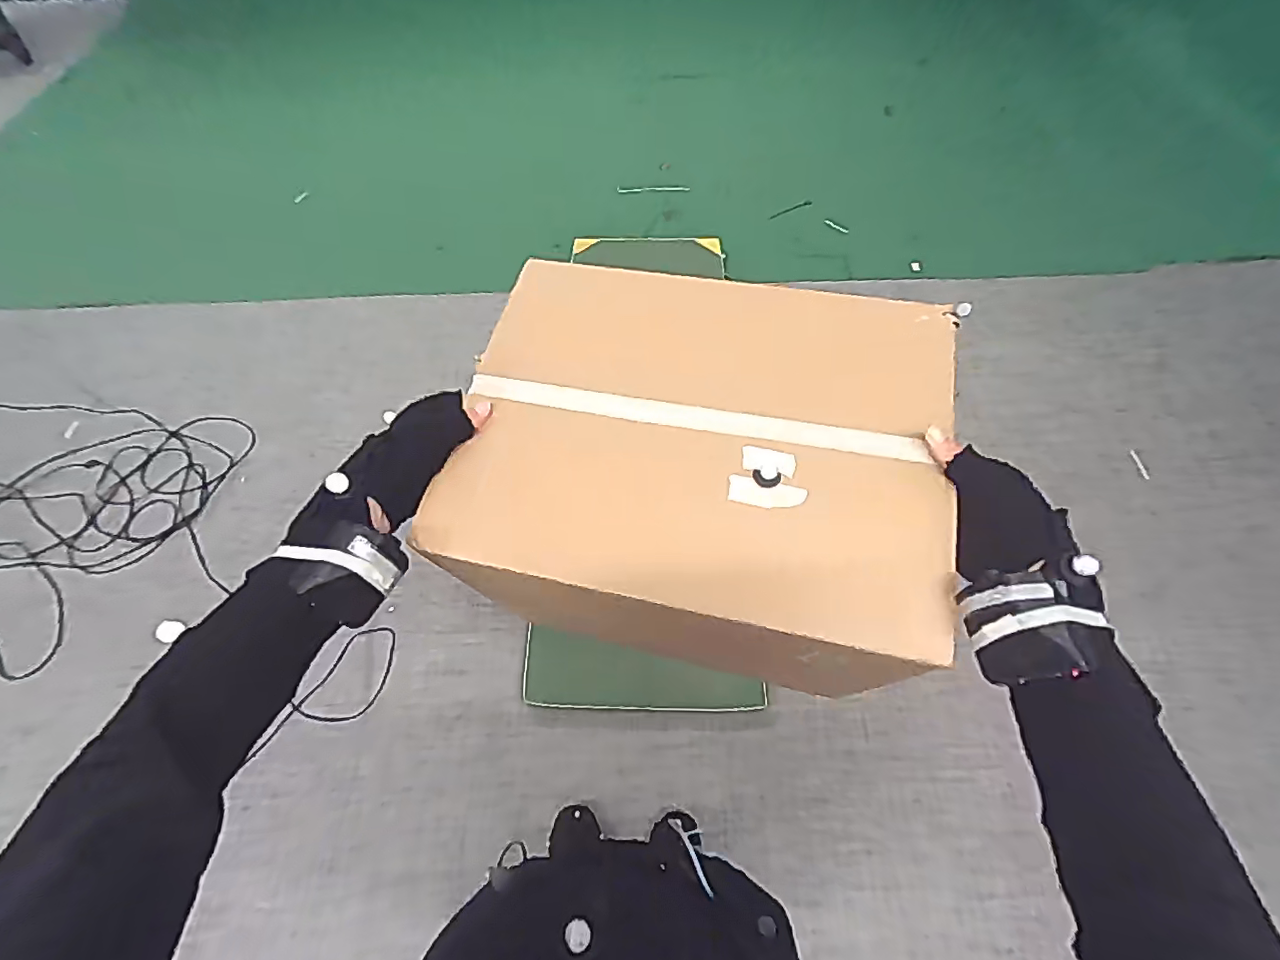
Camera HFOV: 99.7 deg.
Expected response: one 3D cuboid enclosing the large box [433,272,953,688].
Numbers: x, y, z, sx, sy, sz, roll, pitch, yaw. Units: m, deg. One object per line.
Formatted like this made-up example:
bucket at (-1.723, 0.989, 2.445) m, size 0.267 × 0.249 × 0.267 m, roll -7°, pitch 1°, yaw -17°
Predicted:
large box at (0.064, 0.016, 0.598) m, size 0.408 × 0.320 × 0.320 m, roll 11°, pitch 66°, yaw 9°
